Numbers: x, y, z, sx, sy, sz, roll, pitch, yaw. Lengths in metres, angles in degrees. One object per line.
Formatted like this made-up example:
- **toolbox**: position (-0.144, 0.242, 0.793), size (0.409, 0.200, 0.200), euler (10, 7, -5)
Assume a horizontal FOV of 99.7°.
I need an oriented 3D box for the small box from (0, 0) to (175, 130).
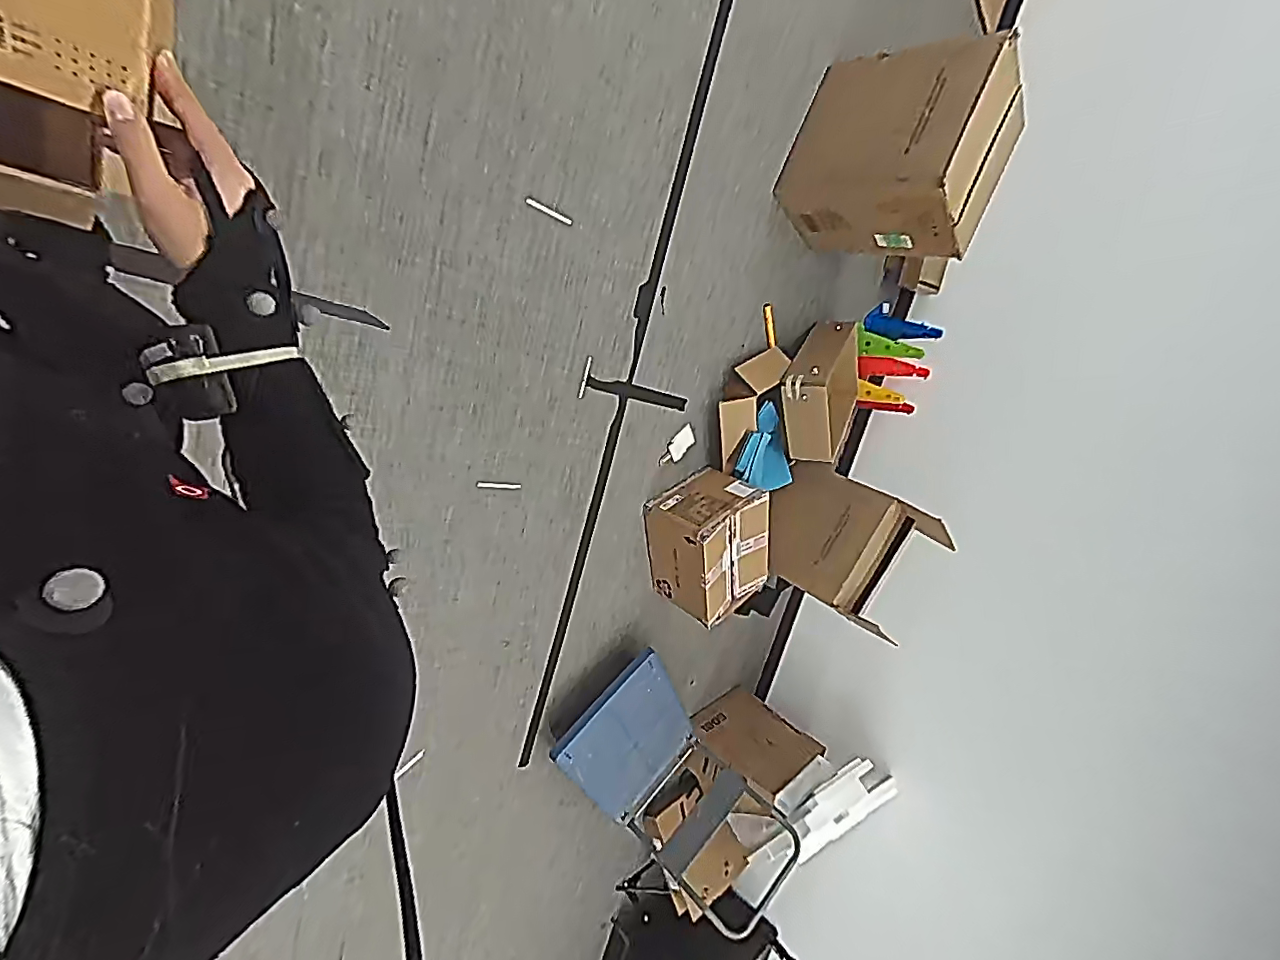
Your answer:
- **small box**: position (-0.357, -0.324, 0.286), size (0.168, 0.179, 0.176), euler (6, 124, -41)
